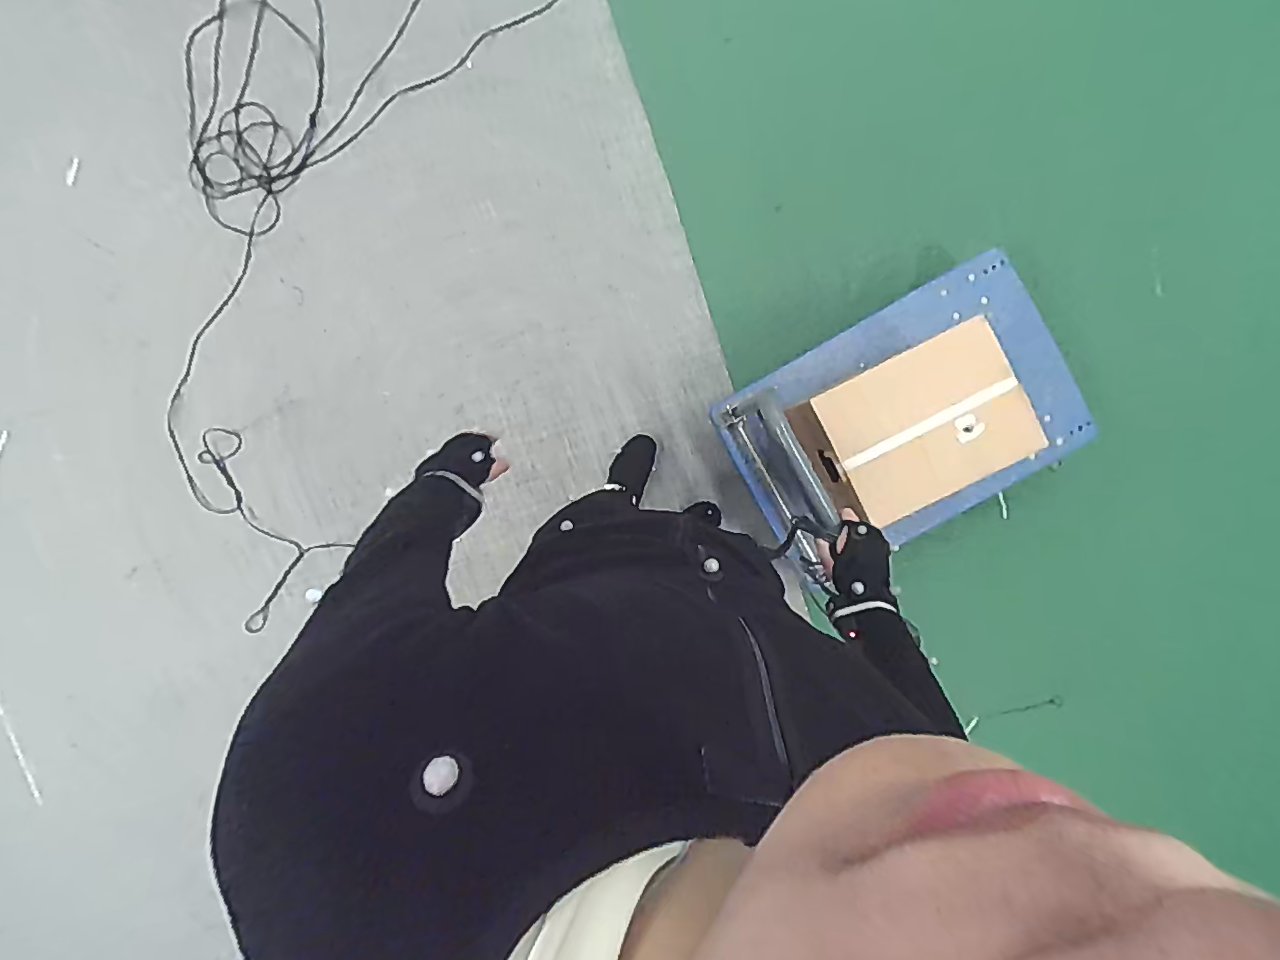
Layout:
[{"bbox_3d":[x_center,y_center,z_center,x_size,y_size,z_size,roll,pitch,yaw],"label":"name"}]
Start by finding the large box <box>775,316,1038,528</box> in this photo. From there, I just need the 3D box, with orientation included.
[{"bbox_3d":[0.595,-0.121,1.285,0.408,0.320,0.320,-27,91,1],"label":"large box"}]
